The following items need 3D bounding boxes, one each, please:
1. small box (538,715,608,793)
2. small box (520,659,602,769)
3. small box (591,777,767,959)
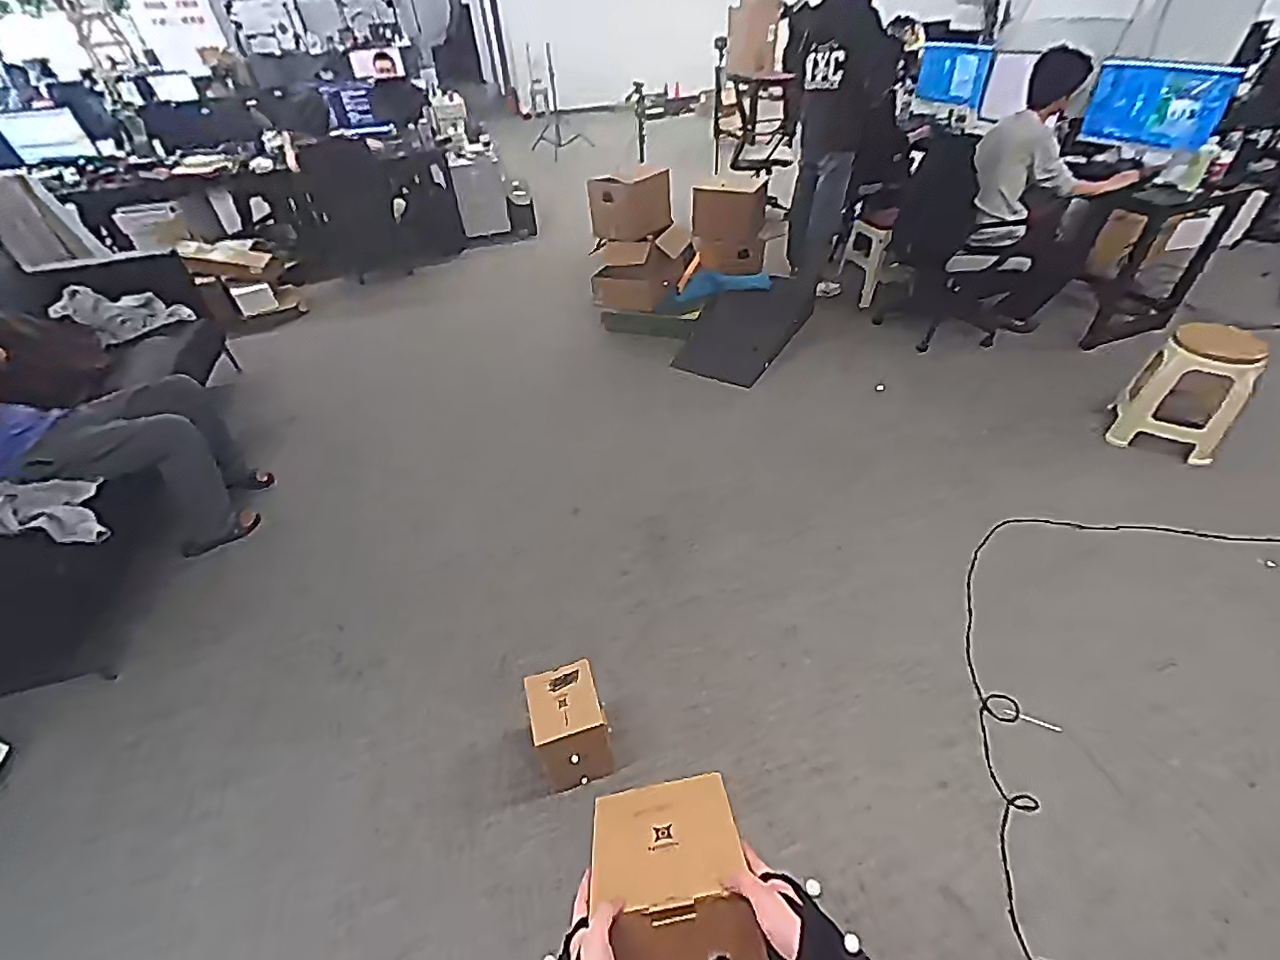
[{"bbox_3d":[-0.190,0.714,1.469,0.179,0.176,0.168,-15,44,-13],"label":"small box"},{"bbox_3d":[-0.195,0.579,1.340,0.168,0.176,0.179,-13,42,-8],"label":"small box"},{"bbox_3d":[0.043,0.483,0.613,0.168,0.176,0.179,-10,6,-2],"label":"small box"}]
